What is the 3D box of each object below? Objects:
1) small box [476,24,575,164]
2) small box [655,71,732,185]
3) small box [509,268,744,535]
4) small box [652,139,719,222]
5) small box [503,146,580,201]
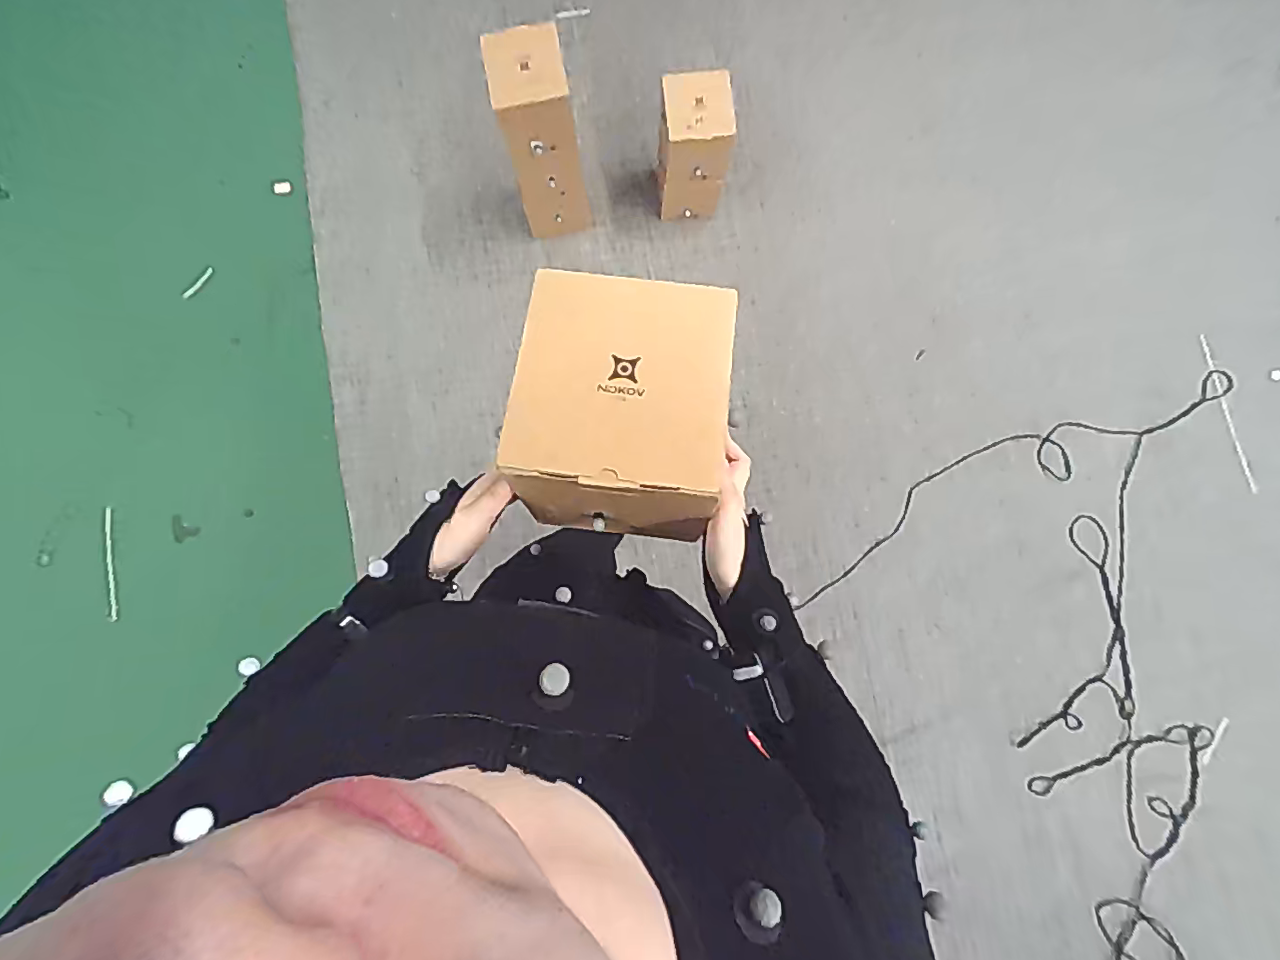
[{"bbox_3d":[-0.247,-0.847,1.199,0.168,0.176,0.179,-12,85,0],"label":"small box"},{"bbox_3d":[0.130,-0.887,1.373,0.168,0.176,0.179,-6,84,-1],"label":"small box"},{"bbox_3d":[-0.008,-0.059,0.493,0.168,0.176,0.179,6,73,1],"label":"small box"},{"bbox_3d":[0.125,-0.866,1.537,0.168,0.176,0.179,-4,85,-1],"label":"small box"},{"bbox_3d":[-0.252,-0.833,1.362,0.168,0.176,0.179,-13,85,-2],"label":"small box"}]
